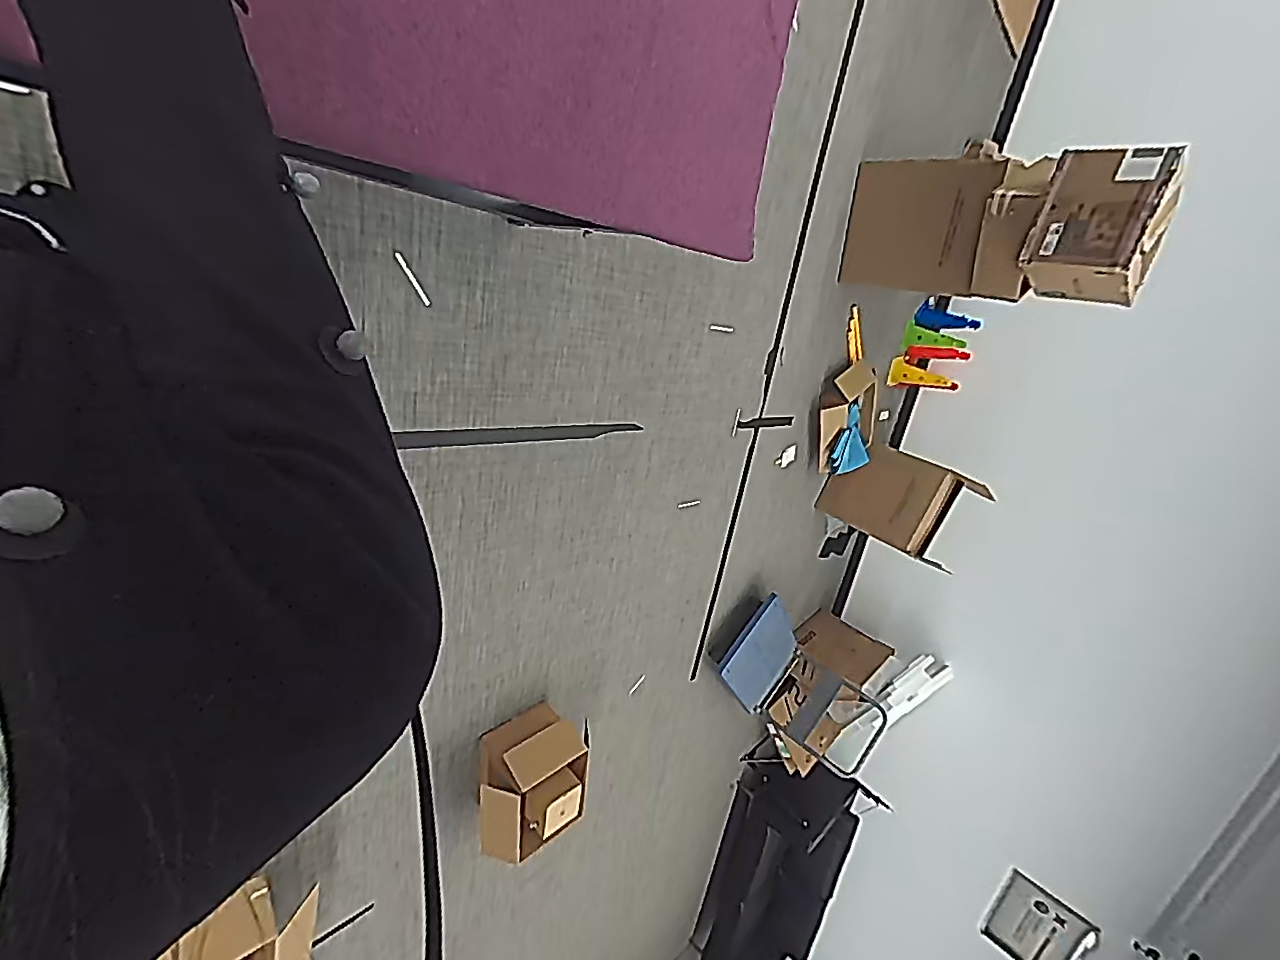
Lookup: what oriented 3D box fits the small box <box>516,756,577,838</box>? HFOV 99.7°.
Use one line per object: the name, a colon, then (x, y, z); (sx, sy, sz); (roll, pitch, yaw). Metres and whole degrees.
small box: (-0.367, 1.222, 2.097); (0.168, 0.176, 0.179); (-12, 119, -44)
